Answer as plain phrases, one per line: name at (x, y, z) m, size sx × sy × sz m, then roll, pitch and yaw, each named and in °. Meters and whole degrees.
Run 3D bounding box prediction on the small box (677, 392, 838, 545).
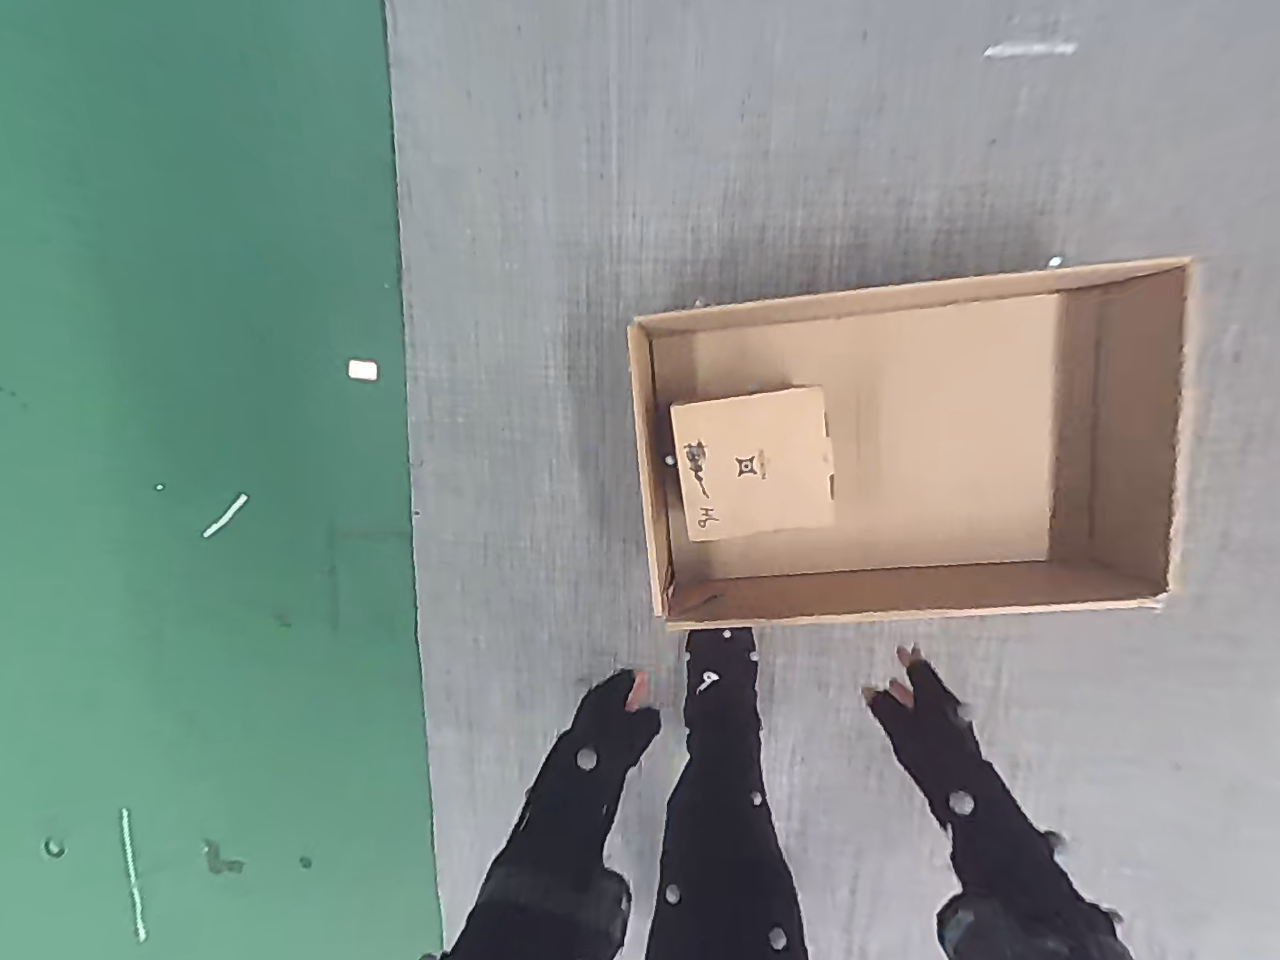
small box at (0.143, -0.024, 0.709) m, size 0.179 × 0.176 × 0.168 m, roll -7°, pitch 99°, yaw 6°
